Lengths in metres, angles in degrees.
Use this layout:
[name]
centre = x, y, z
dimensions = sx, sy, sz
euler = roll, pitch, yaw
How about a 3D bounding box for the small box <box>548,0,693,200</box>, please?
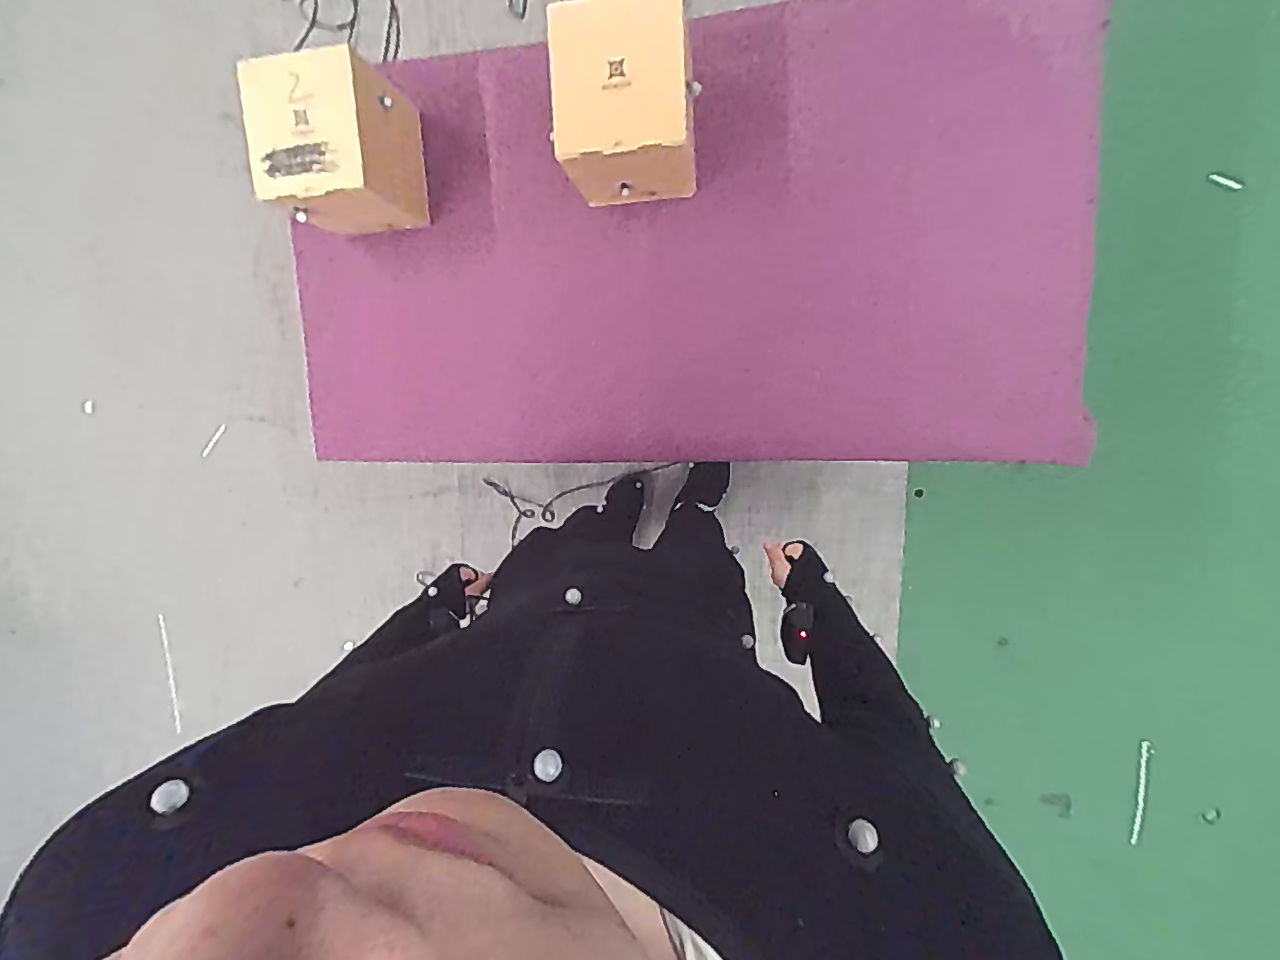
[small box]
centre = -0.017, -0.500, 0.720
dimensions = 0.168, 0.176, 0.179
euler = -2, 99, 8
